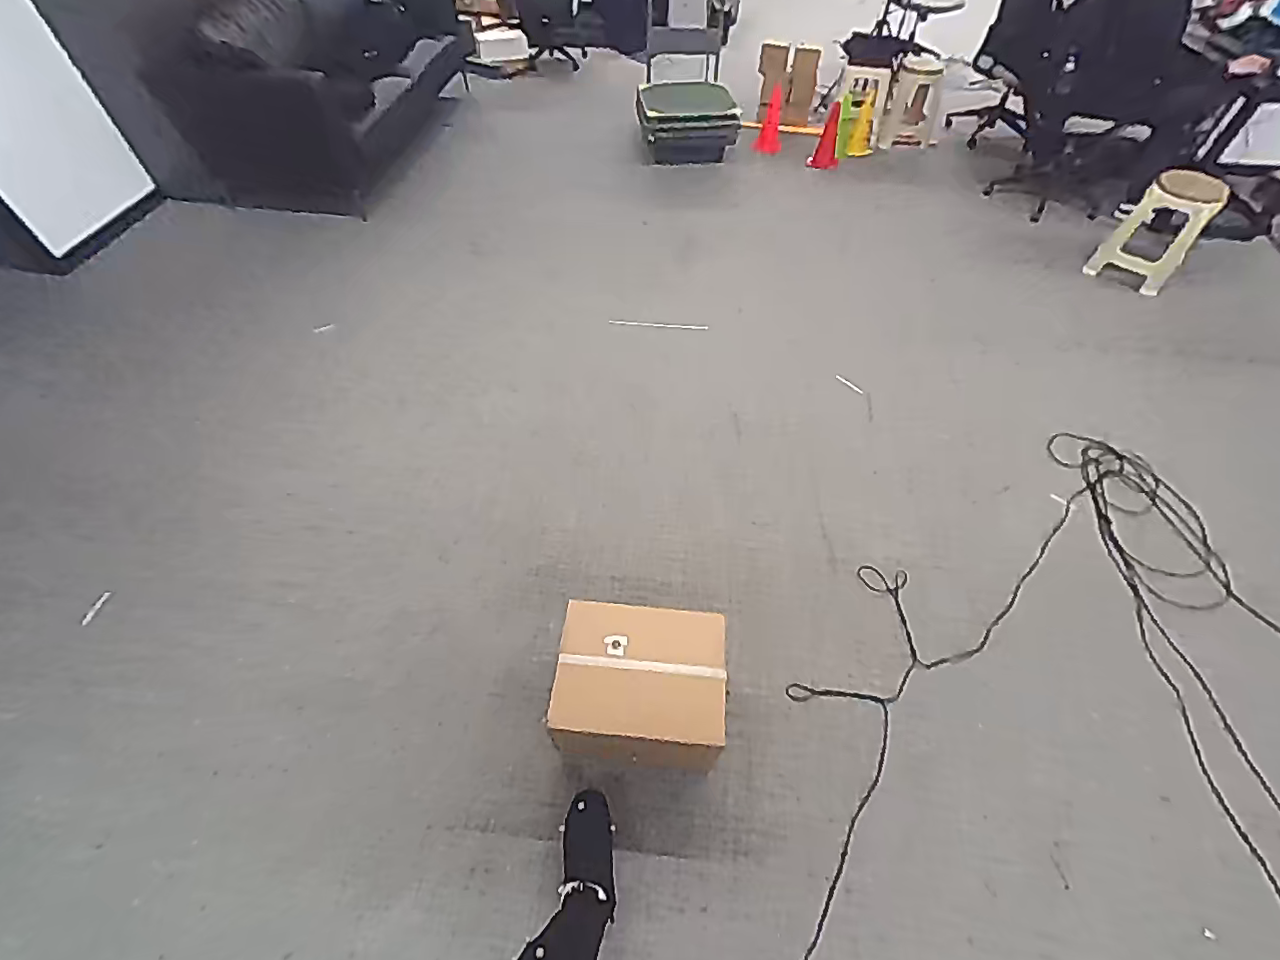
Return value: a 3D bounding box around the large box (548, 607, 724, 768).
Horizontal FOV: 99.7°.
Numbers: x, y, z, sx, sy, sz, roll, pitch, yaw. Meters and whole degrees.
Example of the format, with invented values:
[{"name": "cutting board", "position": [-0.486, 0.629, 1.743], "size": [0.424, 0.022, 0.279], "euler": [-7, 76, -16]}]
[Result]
[{"name": "large box", "position": [0.001, 0.550, 1.418], "size": [0.408, 0.320, 0.320], "euler": [3, 51, 3]}]
